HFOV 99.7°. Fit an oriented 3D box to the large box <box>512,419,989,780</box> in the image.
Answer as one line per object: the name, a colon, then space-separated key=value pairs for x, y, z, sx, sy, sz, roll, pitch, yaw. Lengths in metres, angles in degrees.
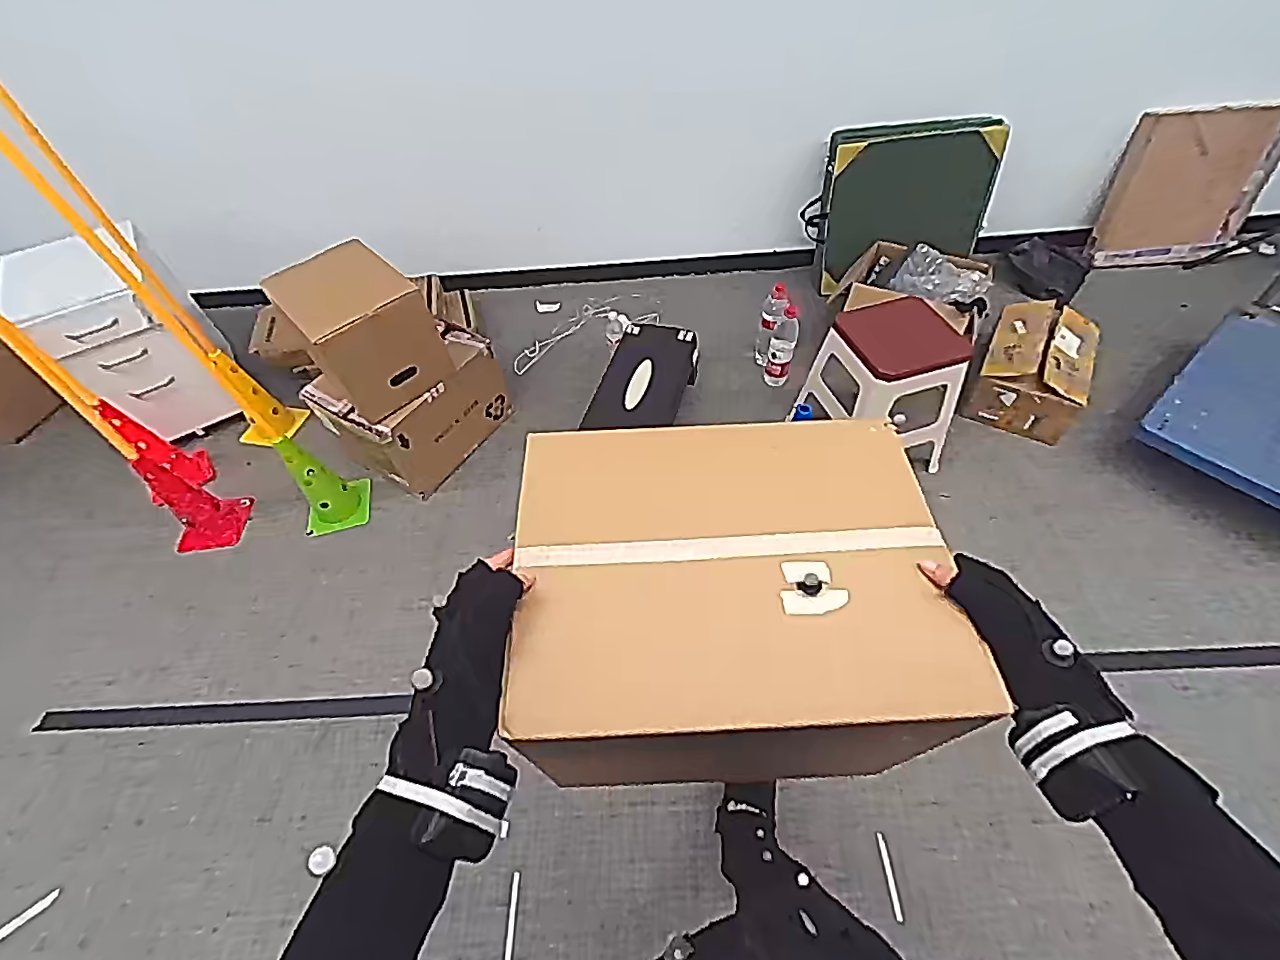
large box: x=0.086 y=0.152 z=0.648 sx=0.408 sy=0.320 sz=0.320 roll=-3 pitch=54 yaw=0
